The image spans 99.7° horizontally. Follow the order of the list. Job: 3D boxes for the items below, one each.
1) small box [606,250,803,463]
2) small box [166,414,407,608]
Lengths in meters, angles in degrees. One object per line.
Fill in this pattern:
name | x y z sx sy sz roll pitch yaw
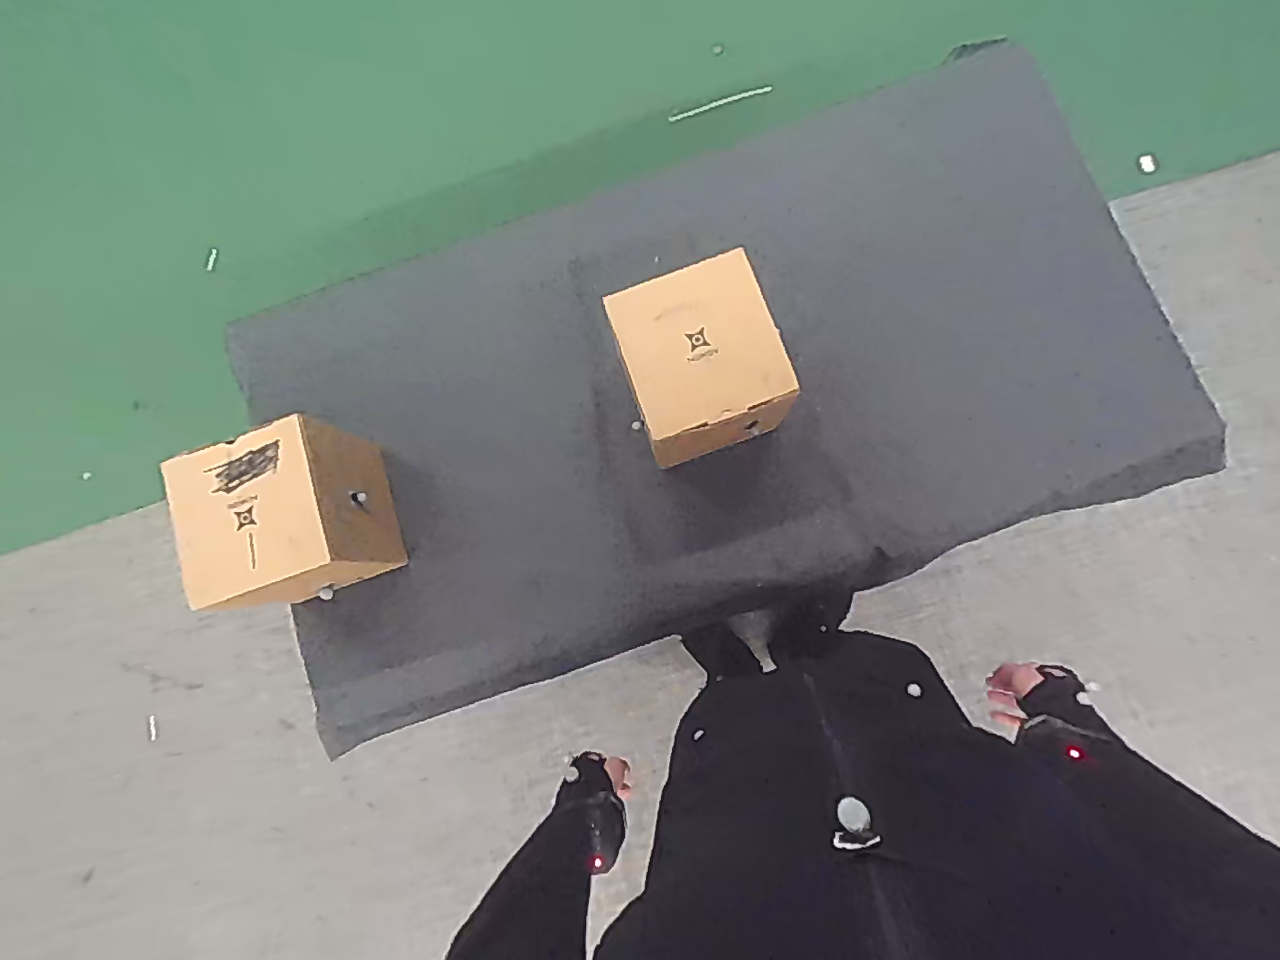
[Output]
small box | 0.073 -0.130 0.648 0.168 0.176 0.179 -20 78 0
small box | -0.414 0.046 0.658 0.168 0.176 0.179 -19 79 2
